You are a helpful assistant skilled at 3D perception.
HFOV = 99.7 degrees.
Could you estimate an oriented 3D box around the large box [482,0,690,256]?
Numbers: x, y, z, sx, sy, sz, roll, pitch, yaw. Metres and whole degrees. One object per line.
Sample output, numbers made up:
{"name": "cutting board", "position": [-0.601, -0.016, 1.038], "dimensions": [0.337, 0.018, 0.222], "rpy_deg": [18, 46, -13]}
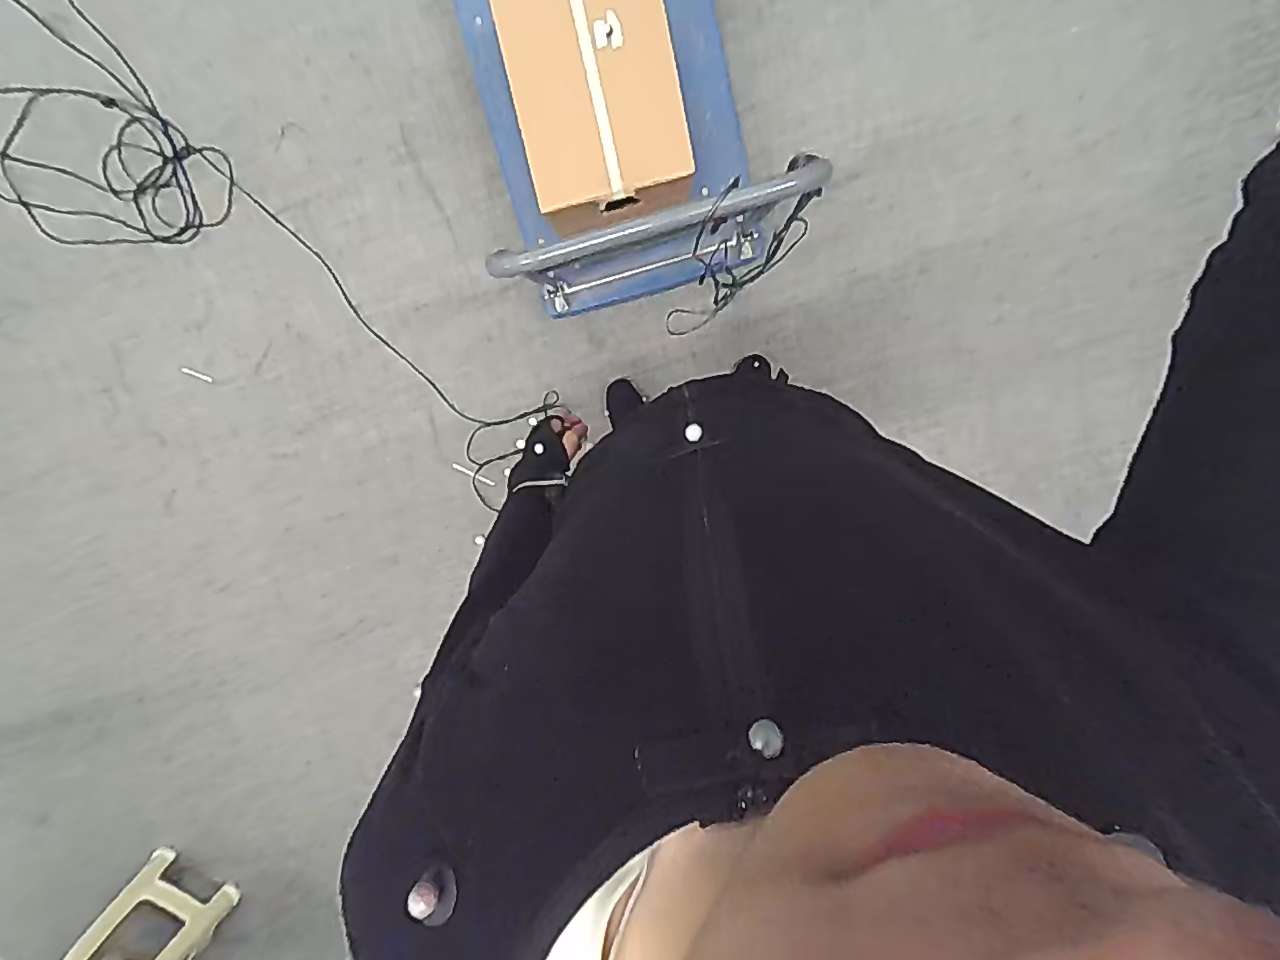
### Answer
{"name": "large box", "position": [-0.091, -0.751, 1.157], "dimensions": [0.320, 0.320, 0.408], "rpy_deg": [-12, 100, 4]}
